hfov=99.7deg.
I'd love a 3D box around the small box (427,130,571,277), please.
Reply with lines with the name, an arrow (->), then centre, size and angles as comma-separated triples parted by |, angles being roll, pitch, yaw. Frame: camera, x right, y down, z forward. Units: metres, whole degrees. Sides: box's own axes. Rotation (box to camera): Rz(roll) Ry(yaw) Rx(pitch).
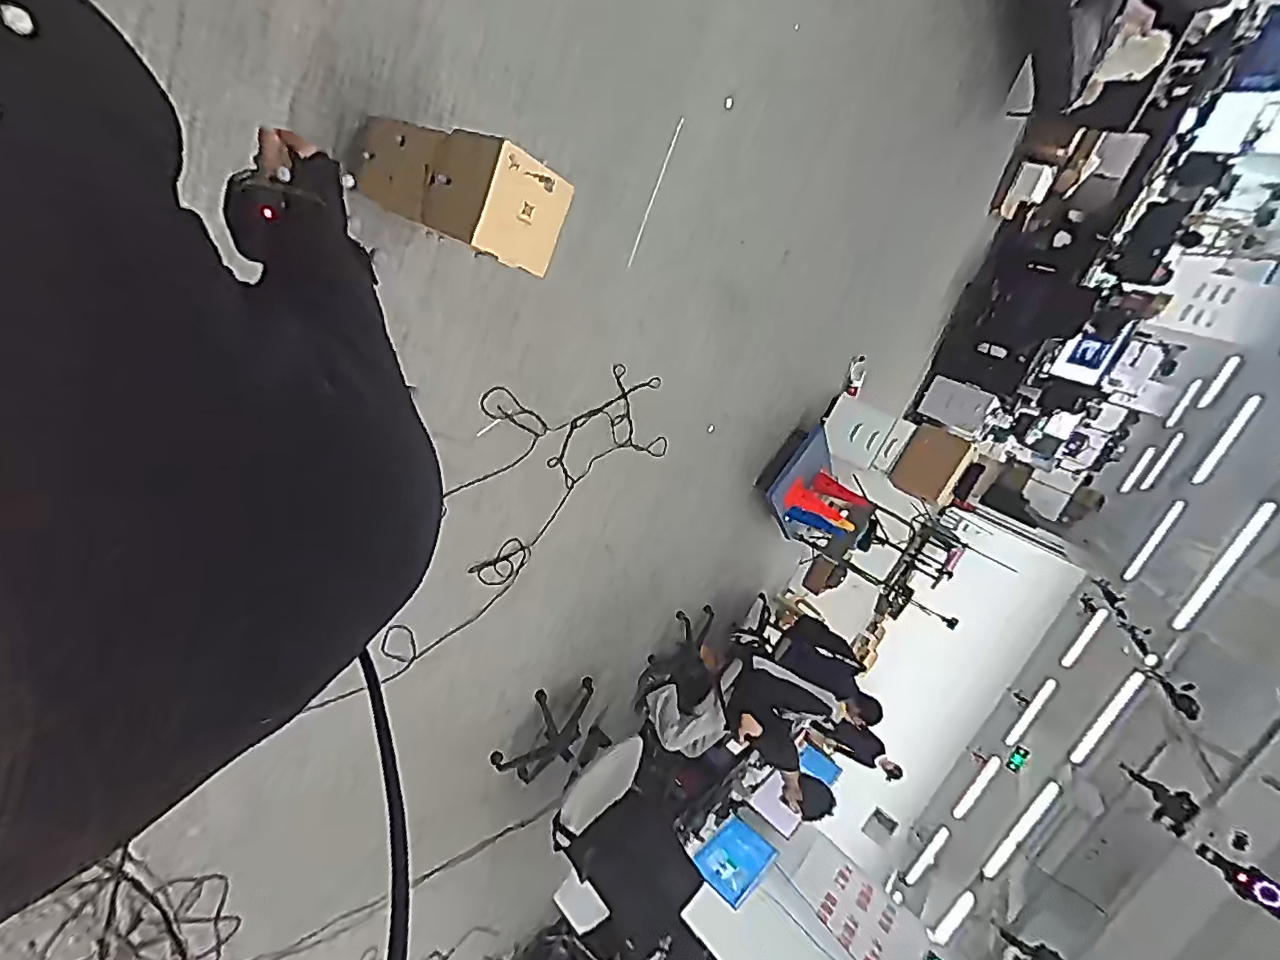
small box -> -0.263, -0.503, 0.990 | 0.168, 0.176, 0.179 | 5, 114, -54

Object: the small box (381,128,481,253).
small box -> -0.384, -0.572, 1.077 | 0.179, 0.176, 0.168 | 2, 115, -54

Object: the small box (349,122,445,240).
small box -> -0.492, -0.648, 1.175 | 0.179, 0.176, 0.168 | 6, 111, -54
